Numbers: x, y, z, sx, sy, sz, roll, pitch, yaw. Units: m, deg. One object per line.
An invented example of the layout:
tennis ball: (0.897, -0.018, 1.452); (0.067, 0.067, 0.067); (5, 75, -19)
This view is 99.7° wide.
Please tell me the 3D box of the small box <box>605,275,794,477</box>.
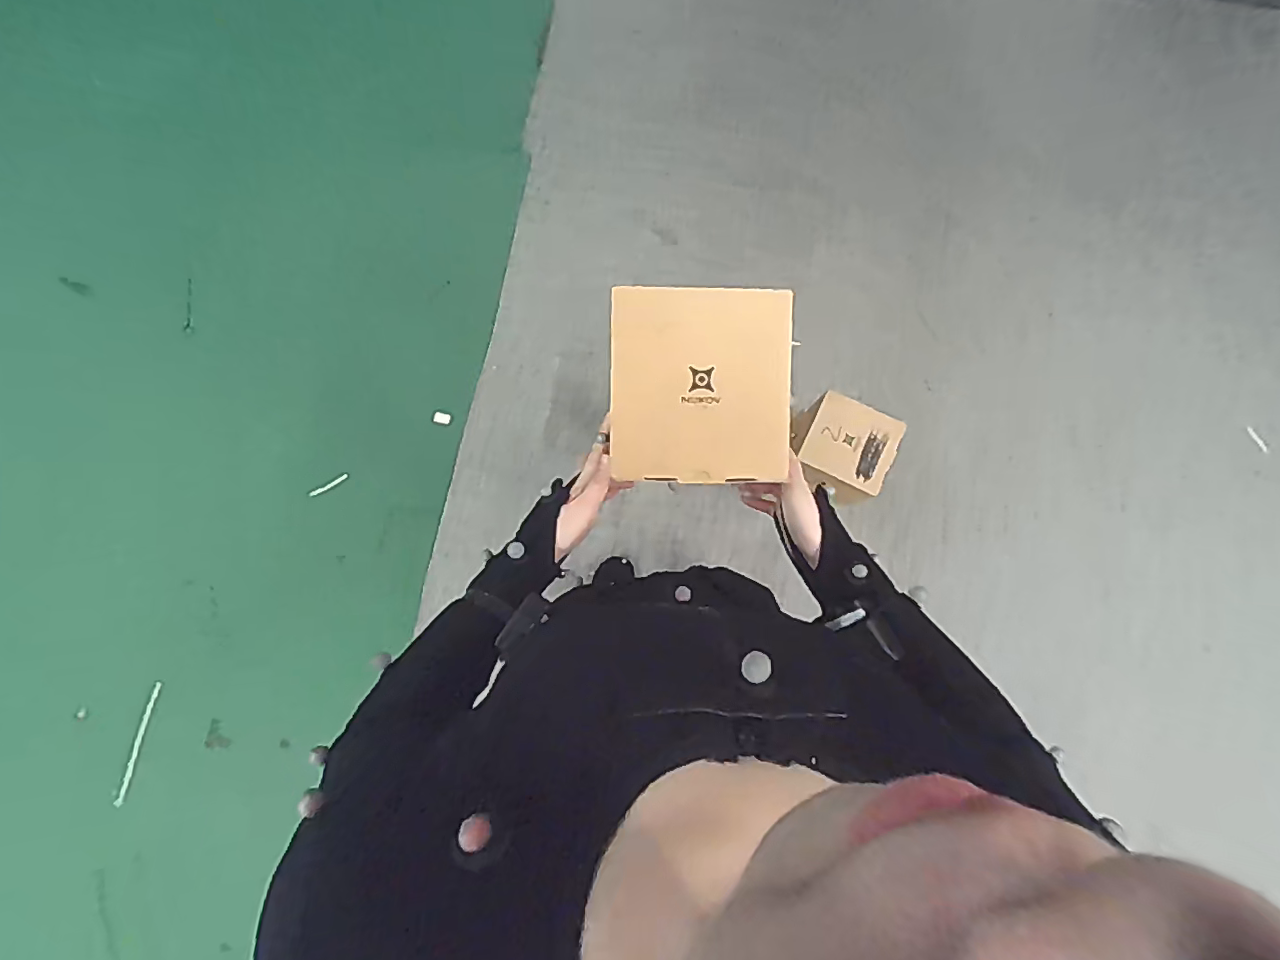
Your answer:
small box: (0.048, -0.093, 0.554); (0.168, 0.176, 0.179); (0, 93, -3)

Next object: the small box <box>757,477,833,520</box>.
small box: (0.431, -0.004, 1.463); (0.168, 0.176, 0.179); (20, 81, 4)

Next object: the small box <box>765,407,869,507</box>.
small box: (0.416, -0.047, 1.305); (0.168, 0.176, 0.179); (24, 82, 4)
